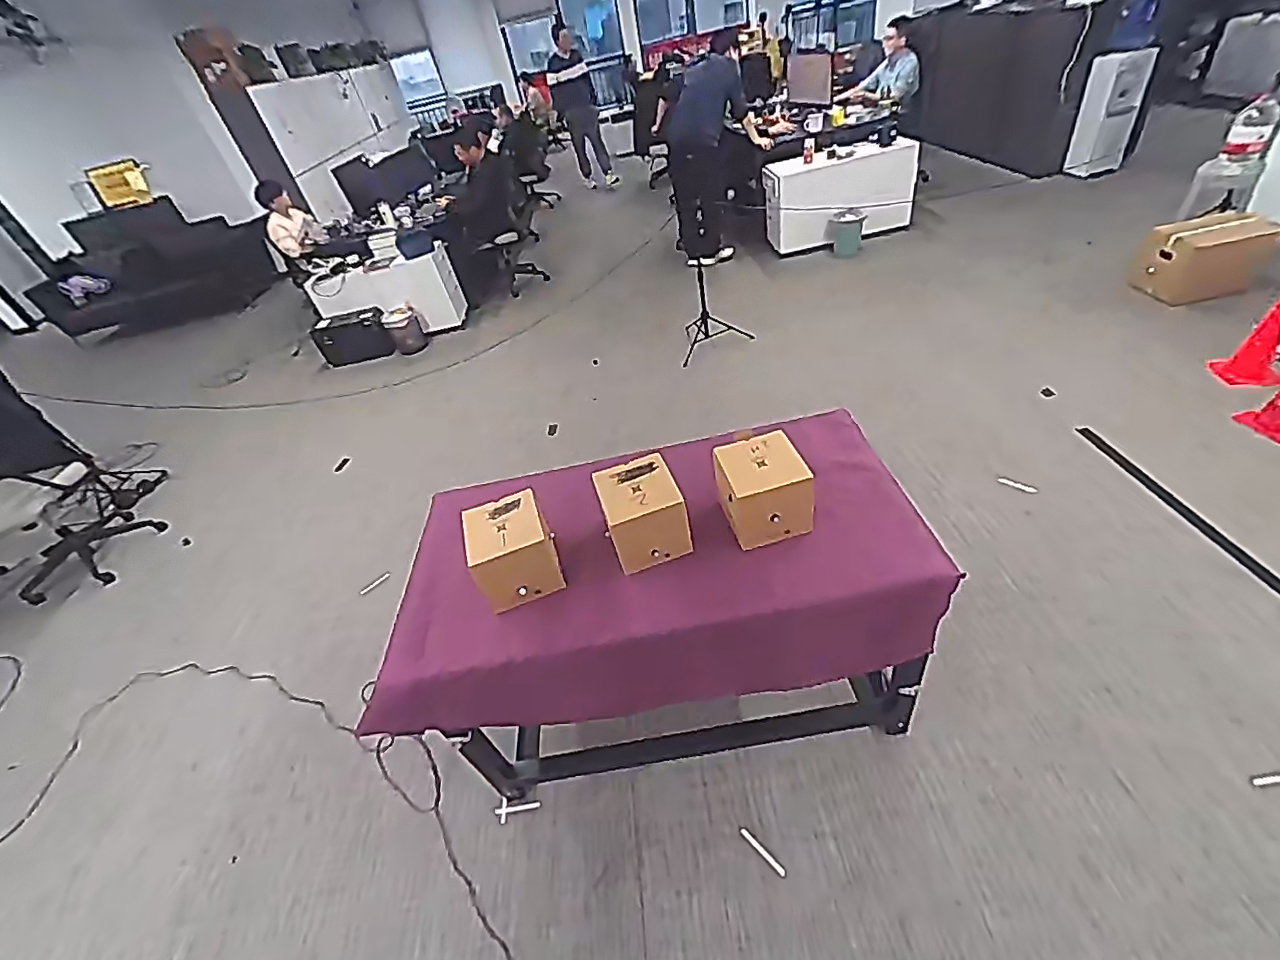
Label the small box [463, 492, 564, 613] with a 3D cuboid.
[{"bbox_3d":[-0.282,0.162,1.212,0.168,0.176,0.179,-21,41,-7],"label":"small box"}]

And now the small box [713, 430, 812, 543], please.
[{"bbox_3d":[0.273,0.021,1.206,0.168,0.176,0.179,-16,40,-1],"label":"small box"}]
